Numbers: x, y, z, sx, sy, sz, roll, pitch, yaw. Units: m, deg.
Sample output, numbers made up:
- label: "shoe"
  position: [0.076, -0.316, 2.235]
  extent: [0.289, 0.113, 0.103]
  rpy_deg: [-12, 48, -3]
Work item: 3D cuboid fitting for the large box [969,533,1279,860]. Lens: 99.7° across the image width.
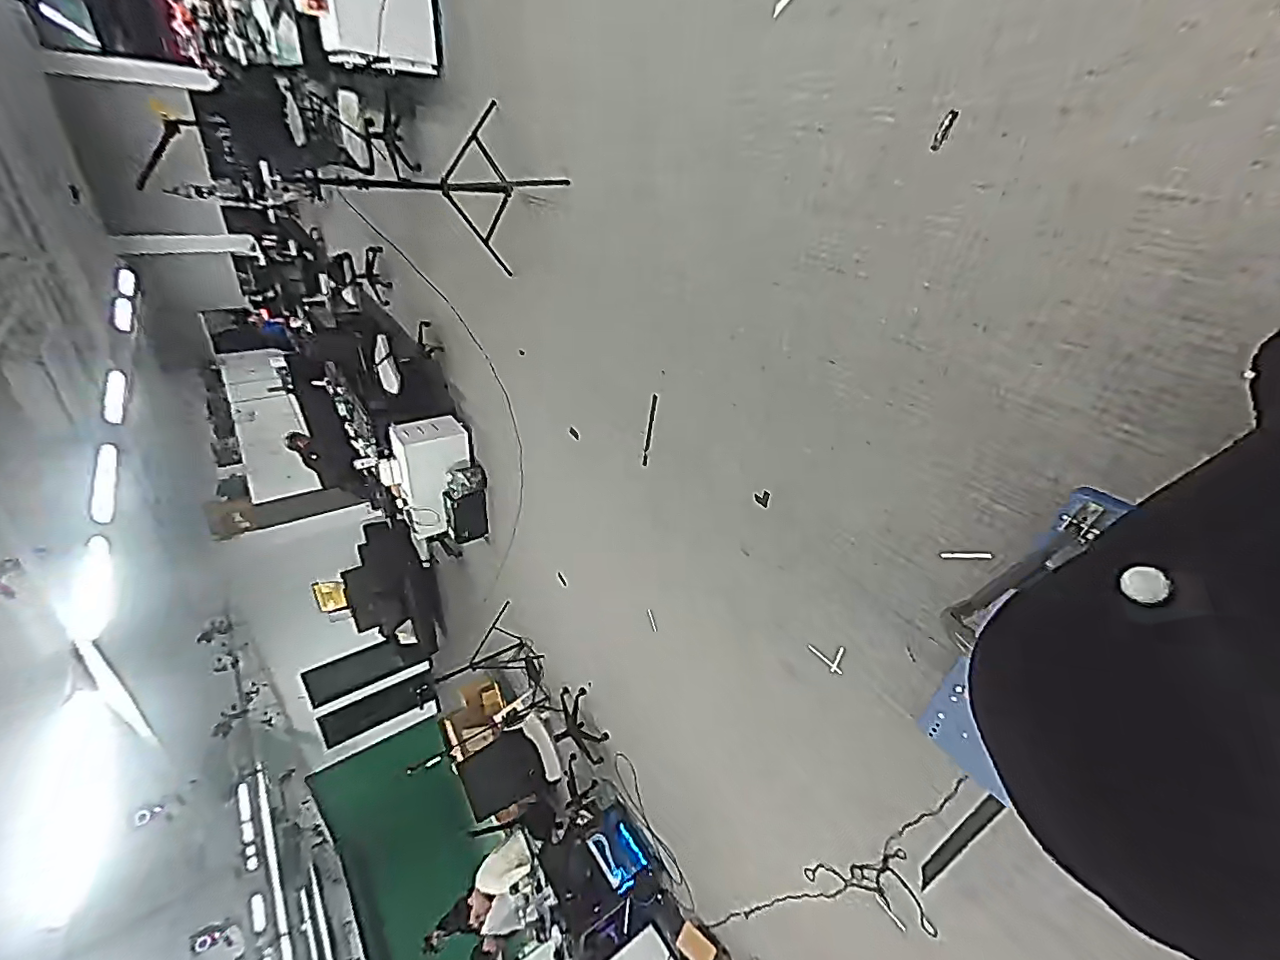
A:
- label: "large box"
  position: [0.941, 0.364, 1.005]
  extent: [0.408, 0.320, 0.320]
  rpy_deg: [41, 135, 41]
